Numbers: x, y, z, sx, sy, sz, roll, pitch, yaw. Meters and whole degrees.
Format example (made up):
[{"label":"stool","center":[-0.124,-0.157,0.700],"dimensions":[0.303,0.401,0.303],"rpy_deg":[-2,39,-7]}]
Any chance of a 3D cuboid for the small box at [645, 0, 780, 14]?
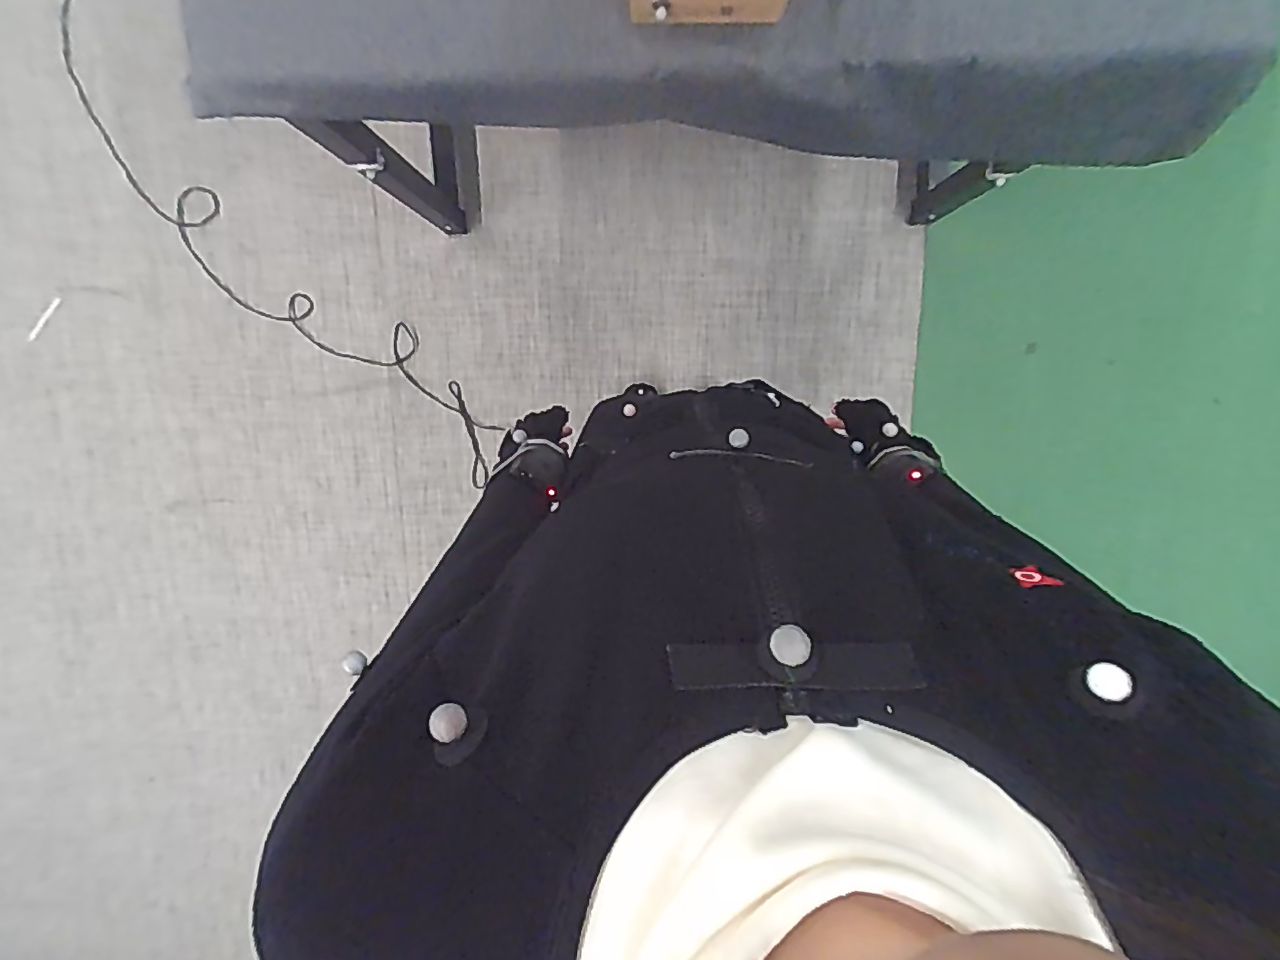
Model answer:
[{"label":"small box","center":[0.074,-0.591,0.515],"dimensions":[0.168,0.176,0.179],"rpy_deg":[1,98,1]}]
